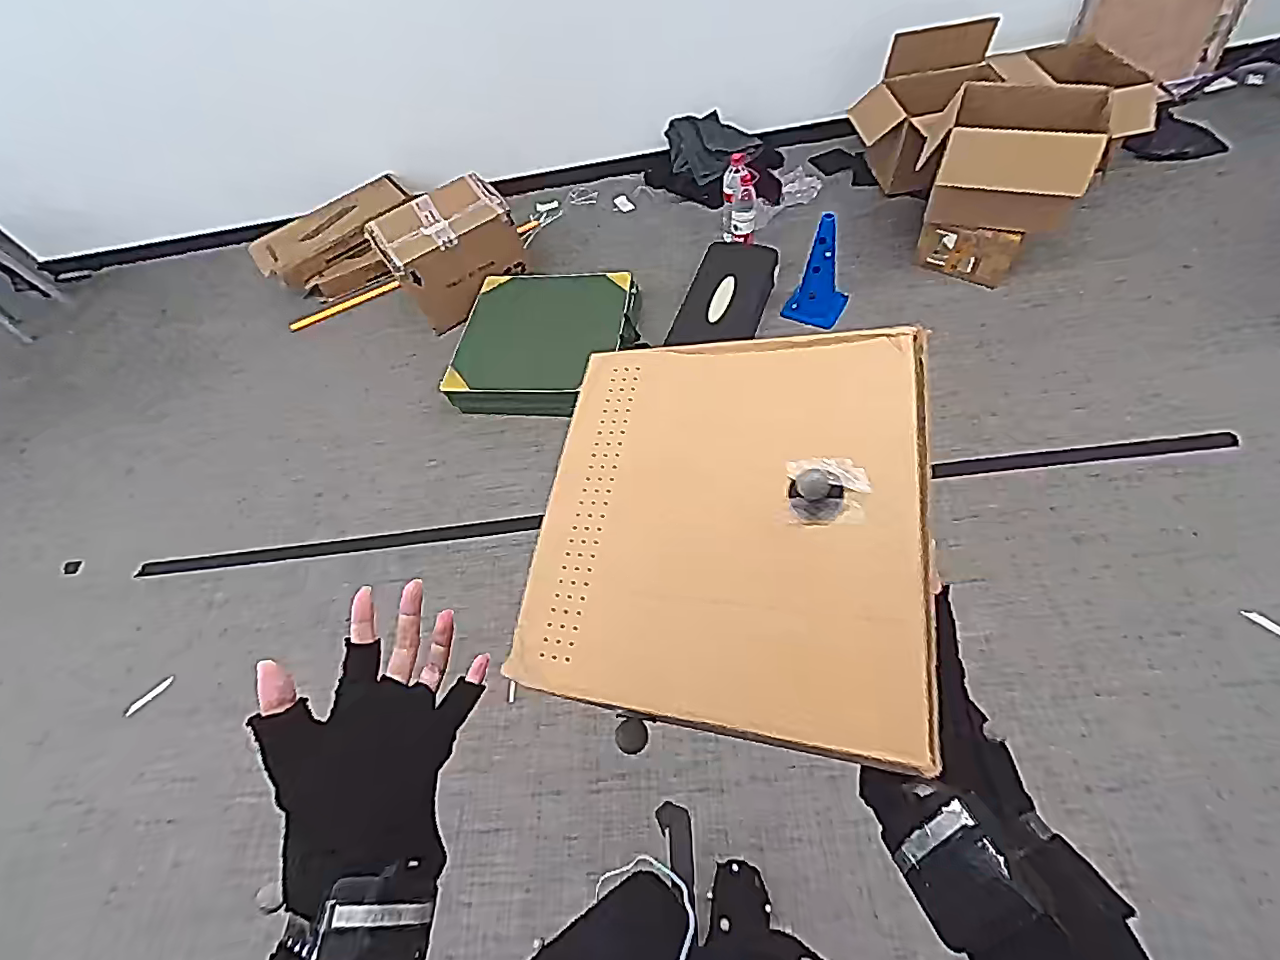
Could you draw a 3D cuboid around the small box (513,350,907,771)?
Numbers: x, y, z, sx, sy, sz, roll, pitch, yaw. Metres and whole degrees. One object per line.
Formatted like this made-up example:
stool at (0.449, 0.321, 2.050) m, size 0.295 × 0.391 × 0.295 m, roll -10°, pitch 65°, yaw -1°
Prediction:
small box at (0.053, 0.051, 0.309) m, size 0.176 × 0.168 × 0.179 m, roll 0°, pitch 63°, yaw 25°
